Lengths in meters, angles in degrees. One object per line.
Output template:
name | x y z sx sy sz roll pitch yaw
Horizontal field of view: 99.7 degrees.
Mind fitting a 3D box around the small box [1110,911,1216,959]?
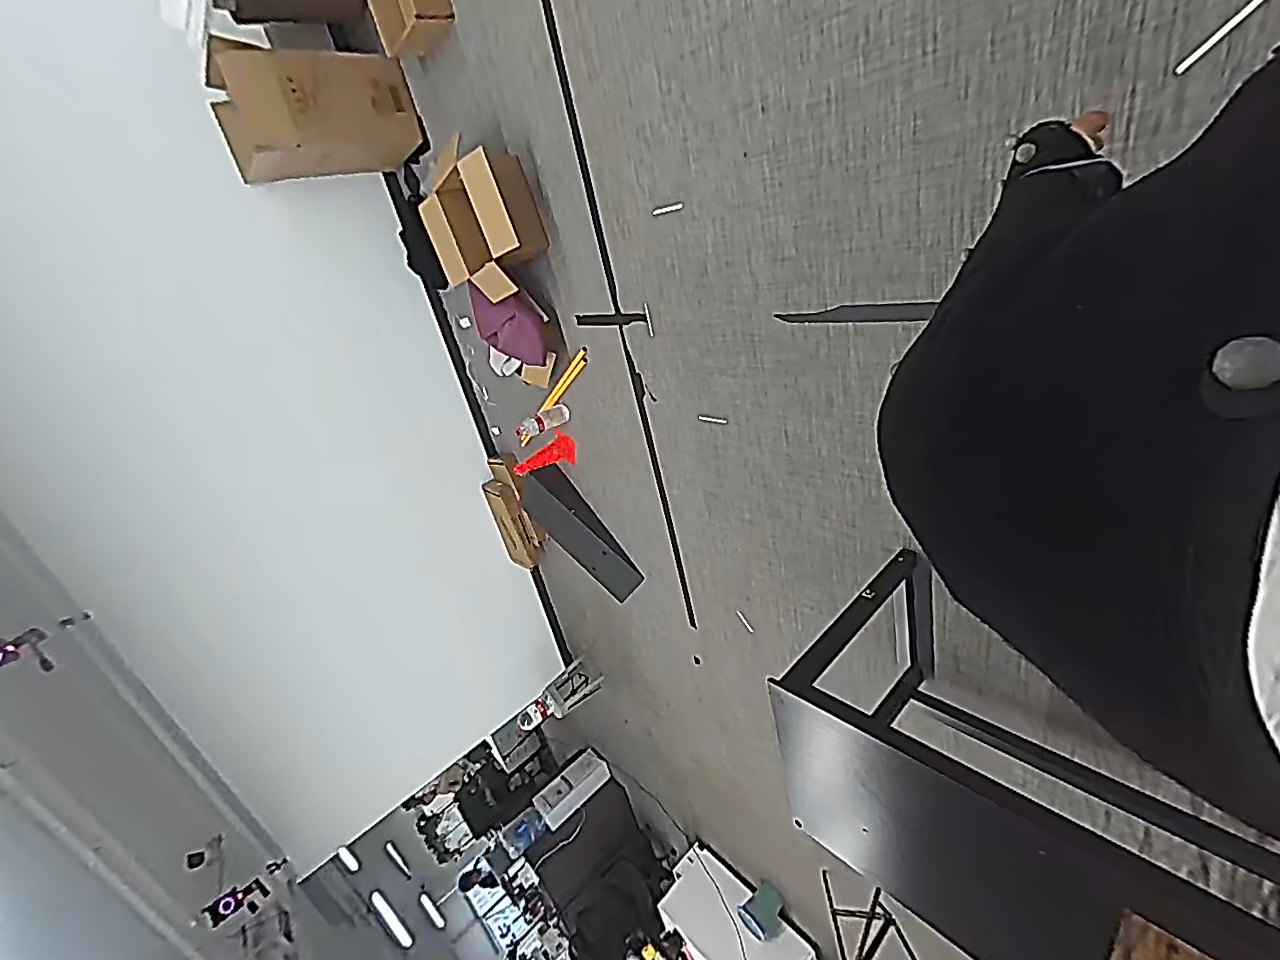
small box | 0.836 0.839 0.844 0.168 0.176 0.179 16 128 49
